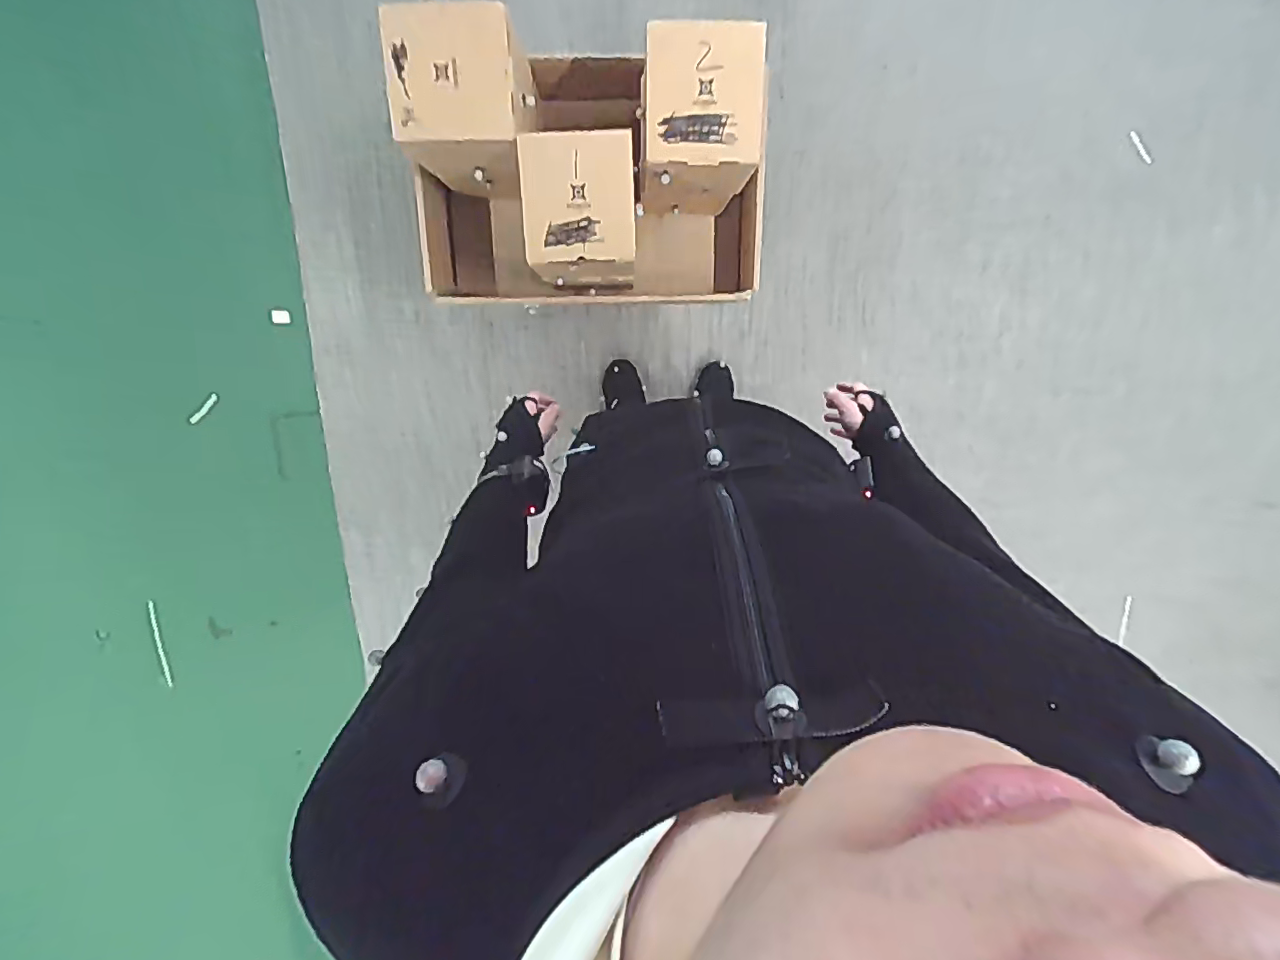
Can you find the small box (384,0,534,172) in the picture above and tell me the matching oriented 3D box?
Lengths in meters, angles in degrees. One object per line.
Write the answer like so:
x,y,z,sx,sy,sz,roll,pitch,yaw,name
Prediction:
-0.258,-0.582,0.819,0.179,0.176,0.168,-1,104,-2,small box
